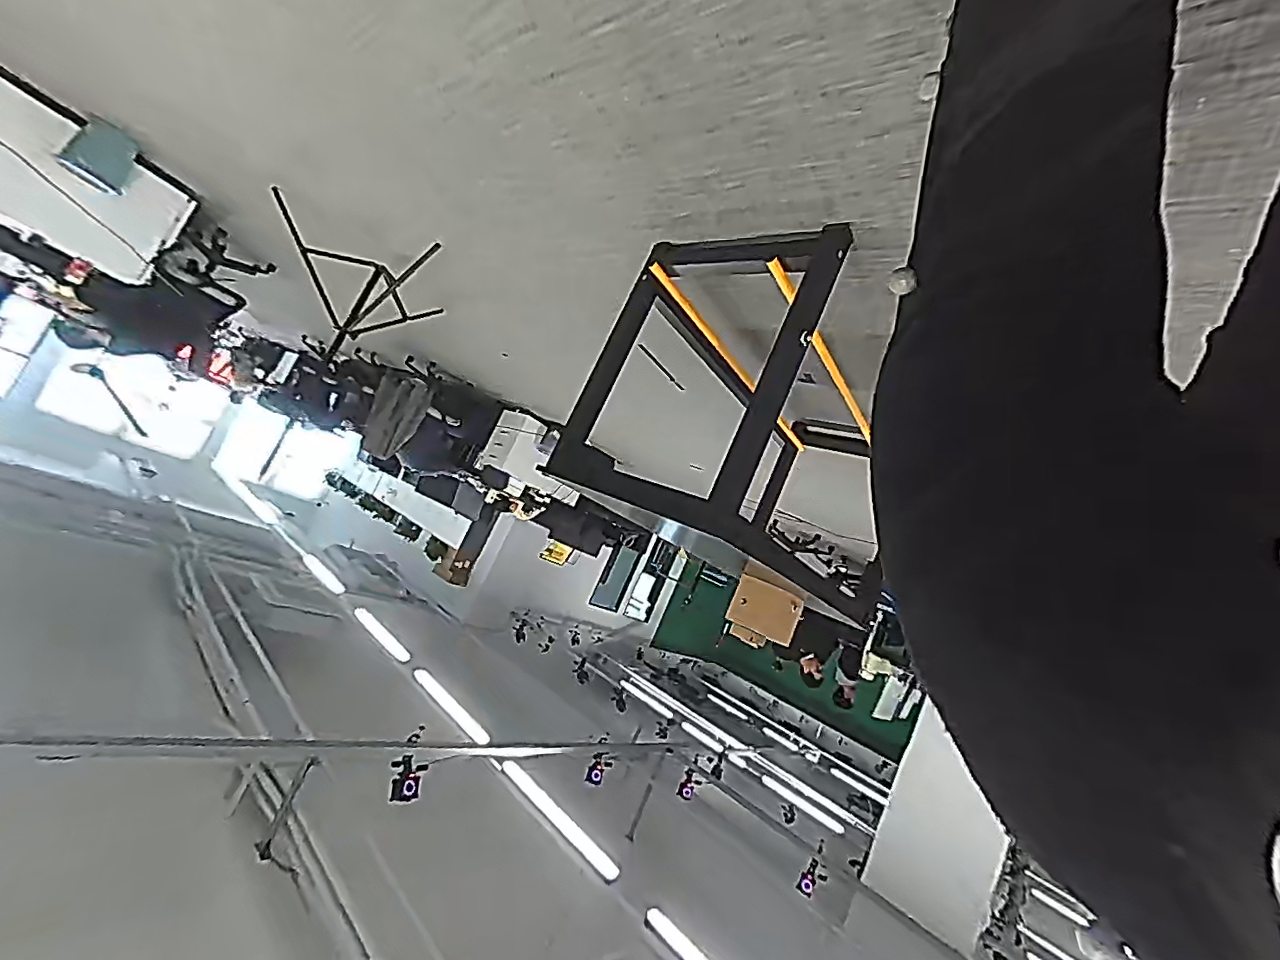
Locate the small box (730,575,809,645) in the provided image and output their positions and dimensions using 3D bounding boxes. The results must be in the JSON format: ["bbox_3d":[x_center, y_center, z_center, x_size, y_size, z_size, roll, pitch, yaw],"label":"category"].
[{"bbox_3d":[0.439,0.432,1.826,0.179,0.176,0.168,16,170,43],"label":"small box"}]
